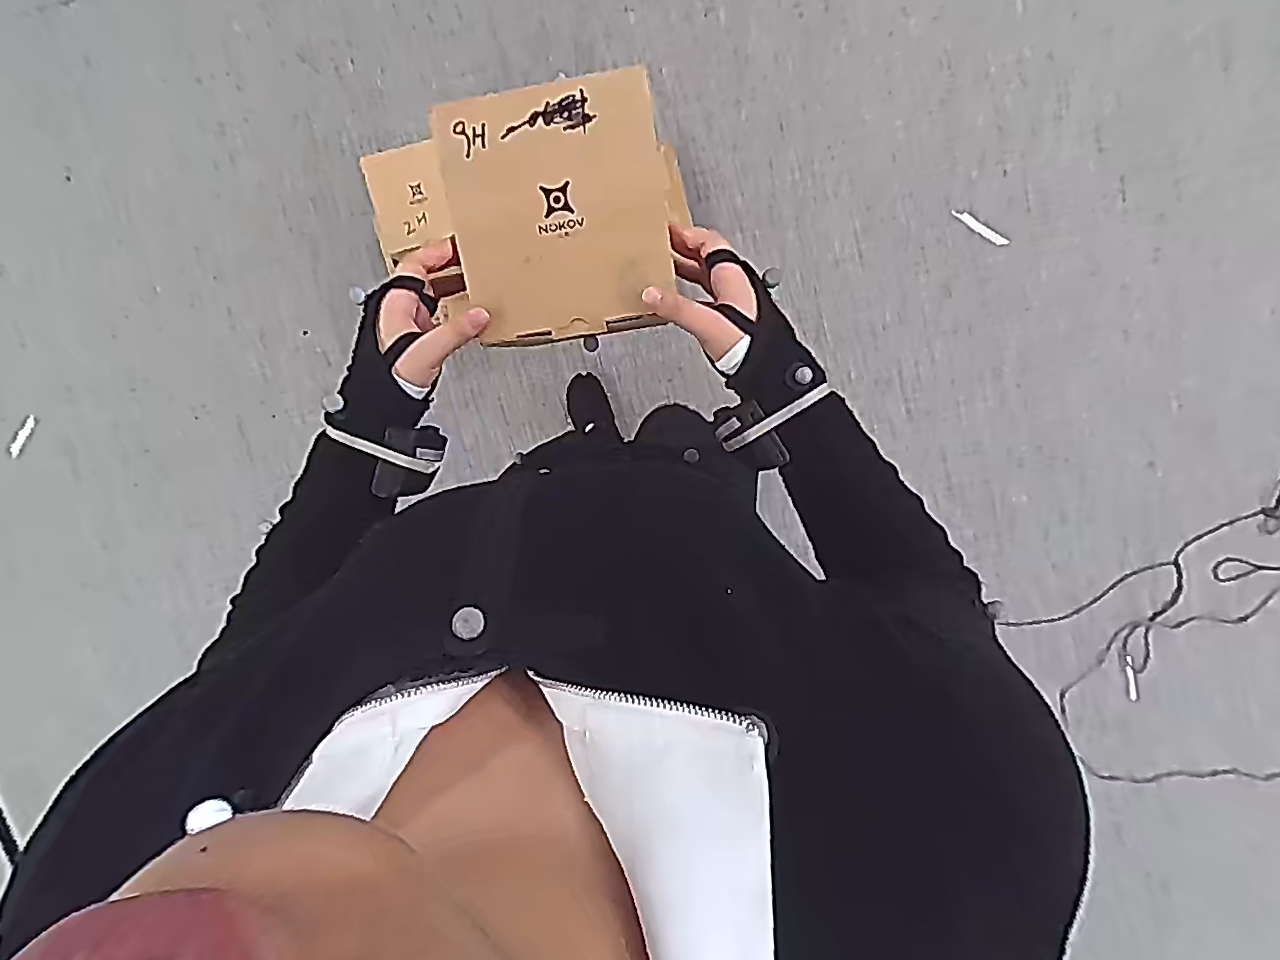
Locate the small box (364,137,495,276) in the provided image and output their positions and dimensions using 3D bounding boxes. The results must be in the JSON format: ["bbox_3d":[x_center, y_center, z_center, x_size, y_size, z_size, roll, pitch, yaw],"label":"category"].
[{"bbox_3d":[-0.401,-0.524,1.060,0.168,0.176,0.179,-14,97,2],"label":"small box"}]

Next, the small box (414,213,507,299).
[{"bbox_3d":[-0.418,-0.532,1.225,0.168,0.176,0.179,-16,97,2],"label":"small box"}]
